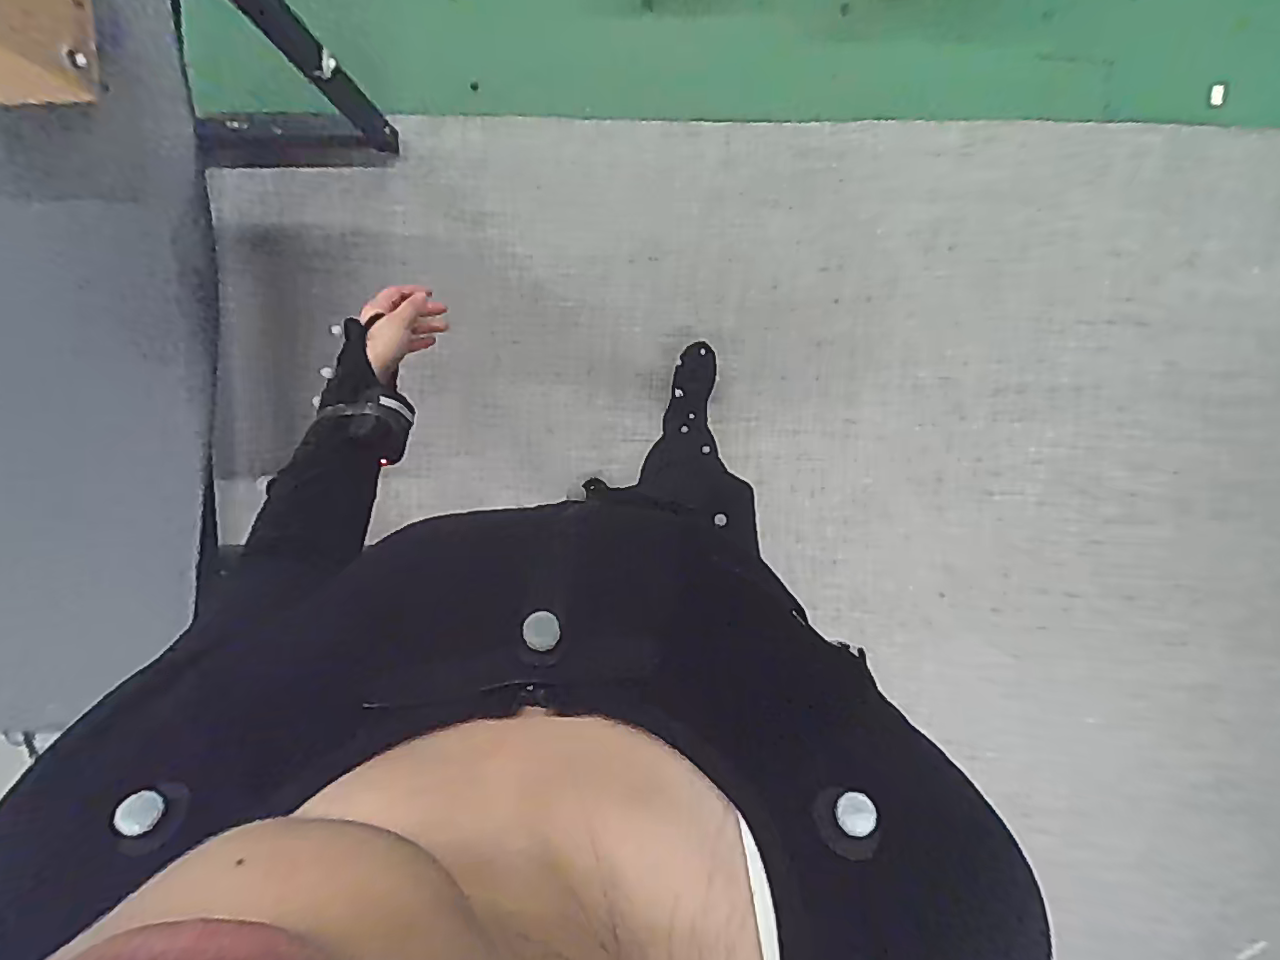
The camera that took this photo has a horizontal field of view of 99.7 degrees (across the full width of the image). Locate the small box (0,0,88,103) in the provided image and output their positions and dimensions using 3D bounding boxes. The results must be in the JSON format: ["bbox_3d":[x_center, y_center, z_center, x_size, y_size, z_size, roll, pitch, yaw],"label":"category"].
[{"bbox_3d":[-0.780,-0.556,0.606,0.179,0.176,0.168,1,97,3],"label":"small box"}]
